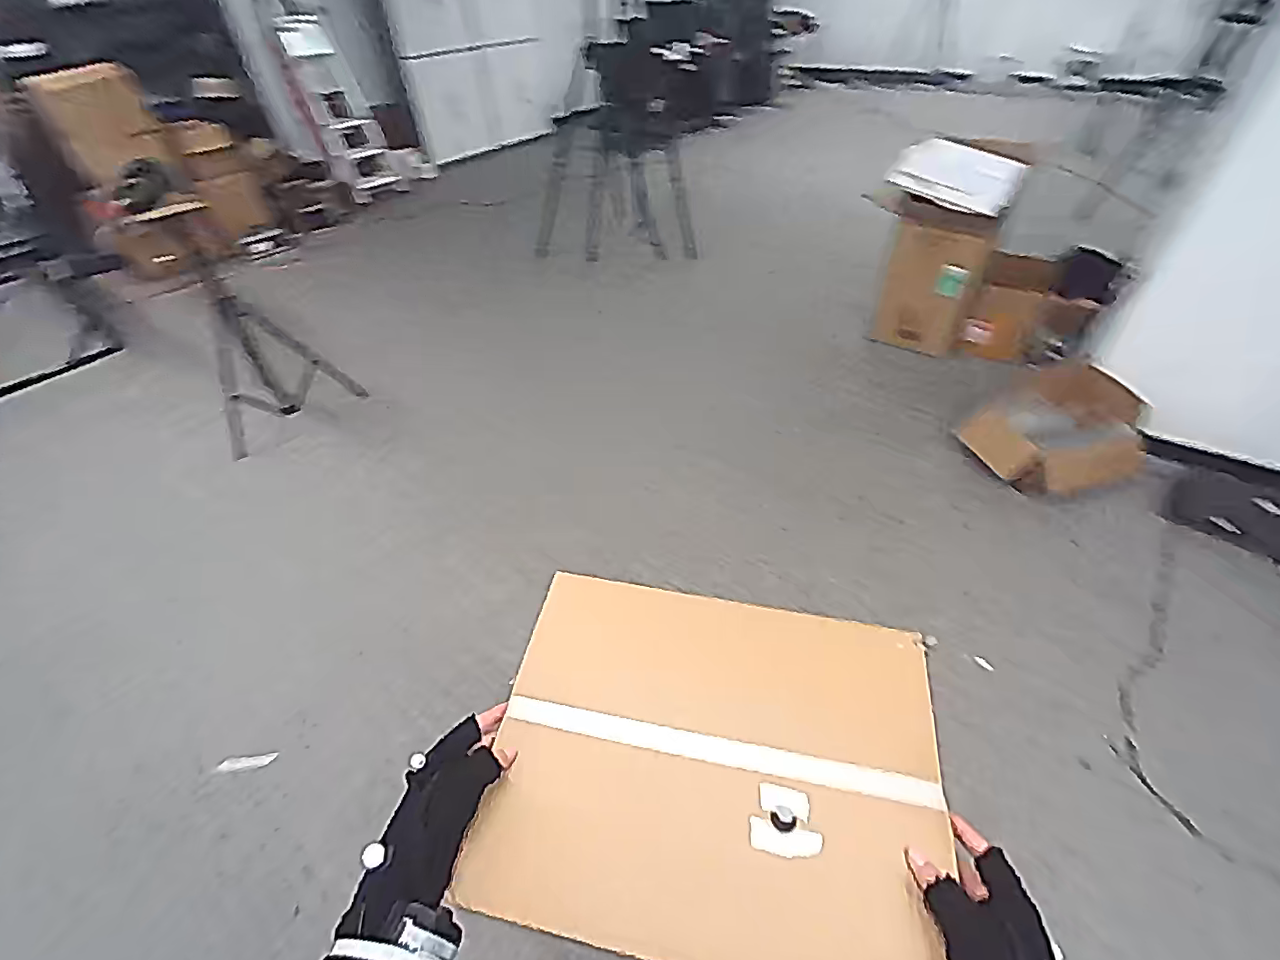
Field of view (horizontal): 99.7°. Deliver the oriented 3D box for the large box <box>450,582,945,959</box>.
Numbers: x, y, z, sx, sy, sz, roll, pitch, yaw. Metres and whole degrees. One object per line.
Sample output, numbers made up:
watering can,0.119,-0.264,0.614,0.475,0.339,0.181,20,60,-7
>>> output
large box,0.063,0.354,0.629,0.408,0.320,0.320,8,50,9
